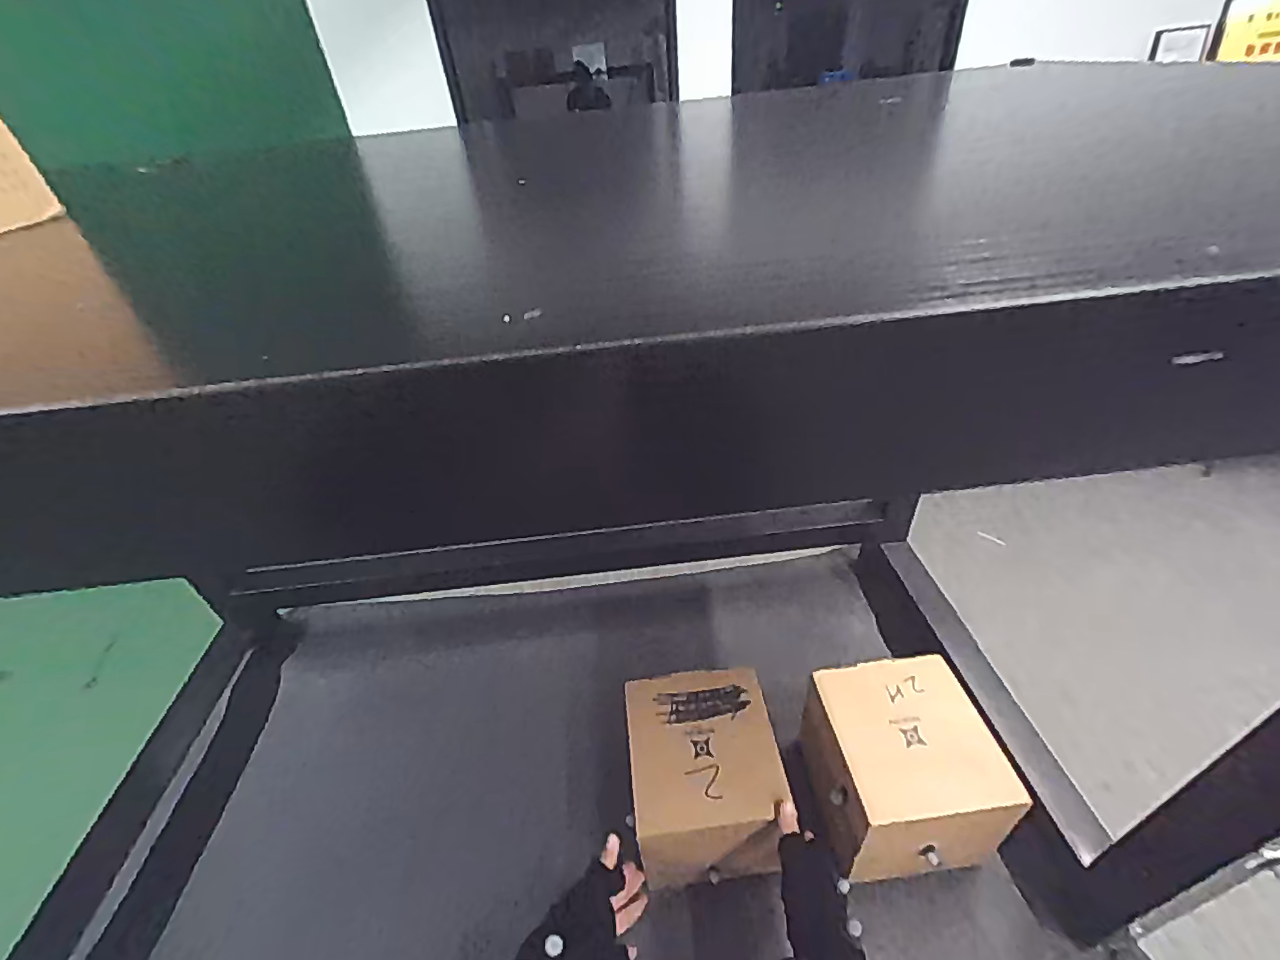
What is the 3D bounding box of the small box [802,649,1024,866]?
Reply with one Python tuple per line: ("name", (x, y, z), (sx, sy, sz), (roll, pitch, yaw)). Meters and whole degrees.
("small box", (0.307, 0.337, 0.654), (0.168, 0.176, 0.179), (-8, 37, -2))
